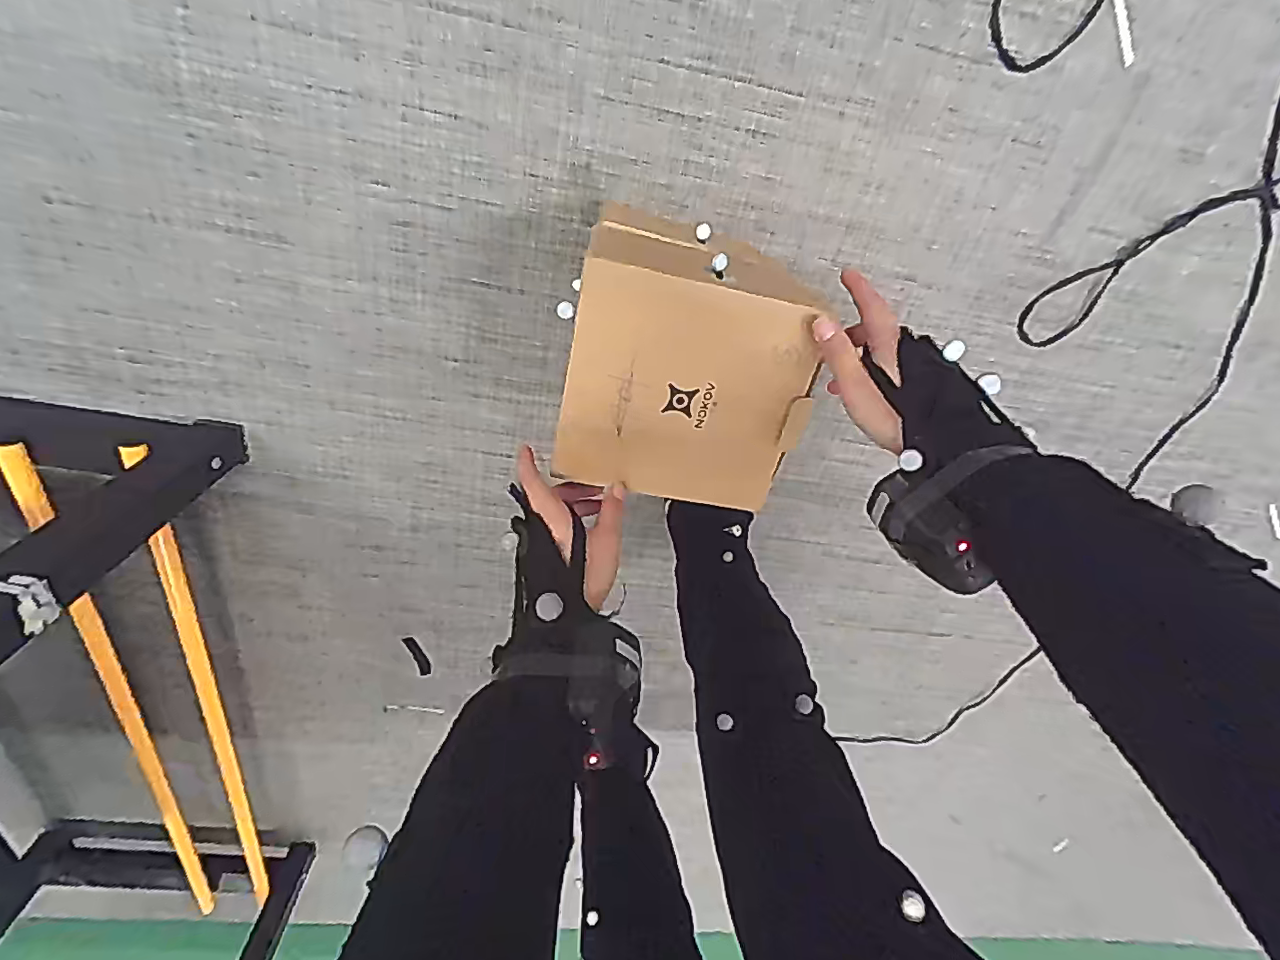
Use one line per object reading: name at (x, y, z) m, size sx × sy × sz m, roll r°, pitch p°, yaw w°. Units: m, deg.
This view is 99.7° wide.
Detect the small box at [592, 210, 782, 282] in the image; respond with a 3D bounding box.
small box at (0.025, -0.185, 0.595) m, size 0.179 × 0.176 × 0.168 m, roll 11°, pitch 120°, yaw -10°

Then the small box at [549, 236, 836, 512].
small box at (0.028, -0.096, 0.457) m, size 0.179 × 0.176 × 0.168 m, roll 10°, pitch 119°, yaw -7°
